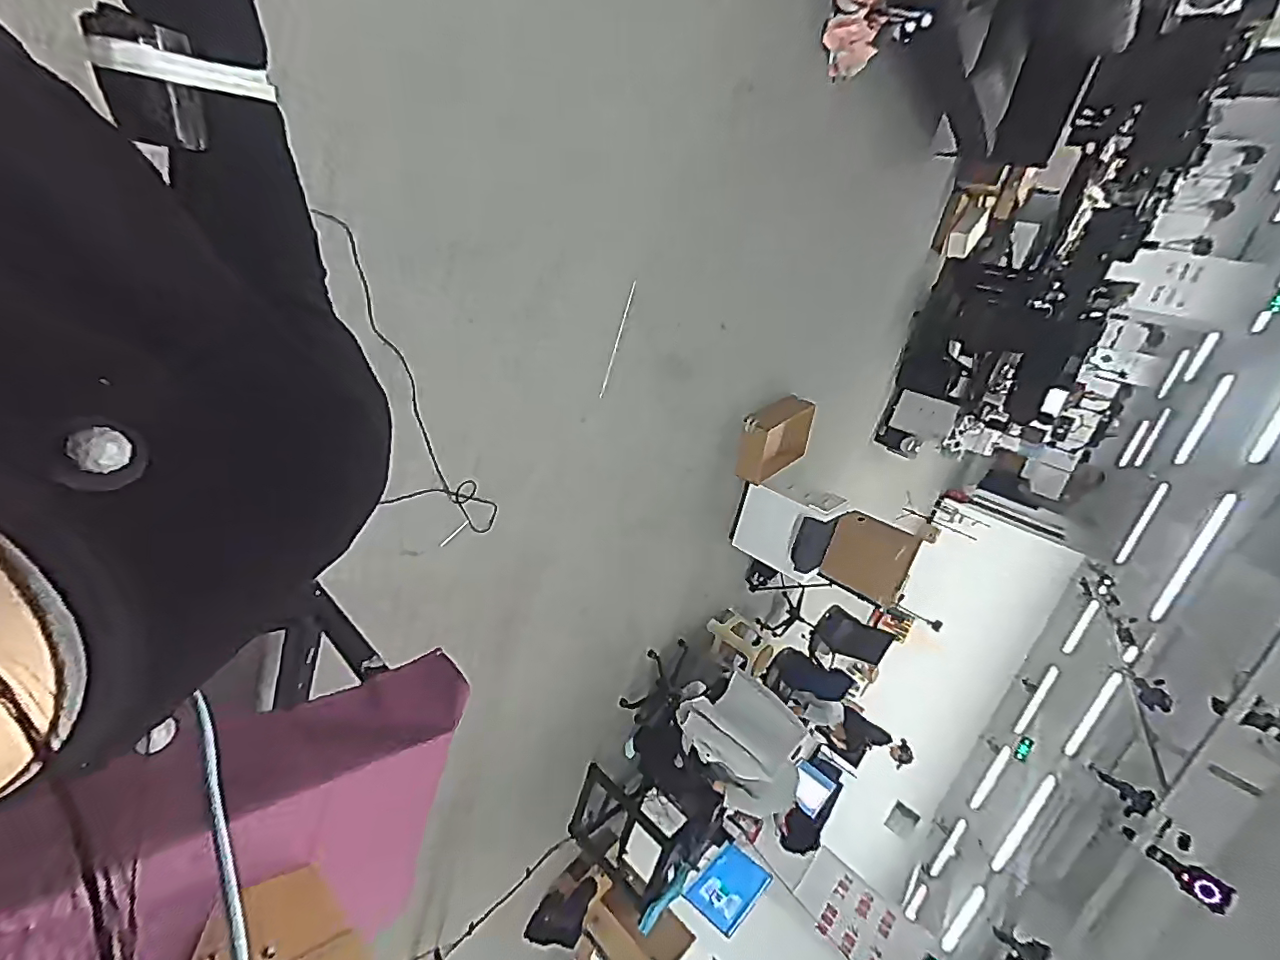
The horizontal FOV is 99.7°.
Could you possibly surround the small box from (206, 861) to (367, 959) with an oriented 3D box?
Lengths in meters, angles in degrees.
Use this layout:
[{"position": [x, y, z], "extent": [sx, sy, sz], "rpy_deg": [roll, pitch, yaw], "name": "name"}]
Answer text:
[{"position": [-0.647, 0.852, 0.989], "extent": [0.179, 0.176, 0.168], "rpy_deg": [18, 98, -54], "name": "small box"}]
